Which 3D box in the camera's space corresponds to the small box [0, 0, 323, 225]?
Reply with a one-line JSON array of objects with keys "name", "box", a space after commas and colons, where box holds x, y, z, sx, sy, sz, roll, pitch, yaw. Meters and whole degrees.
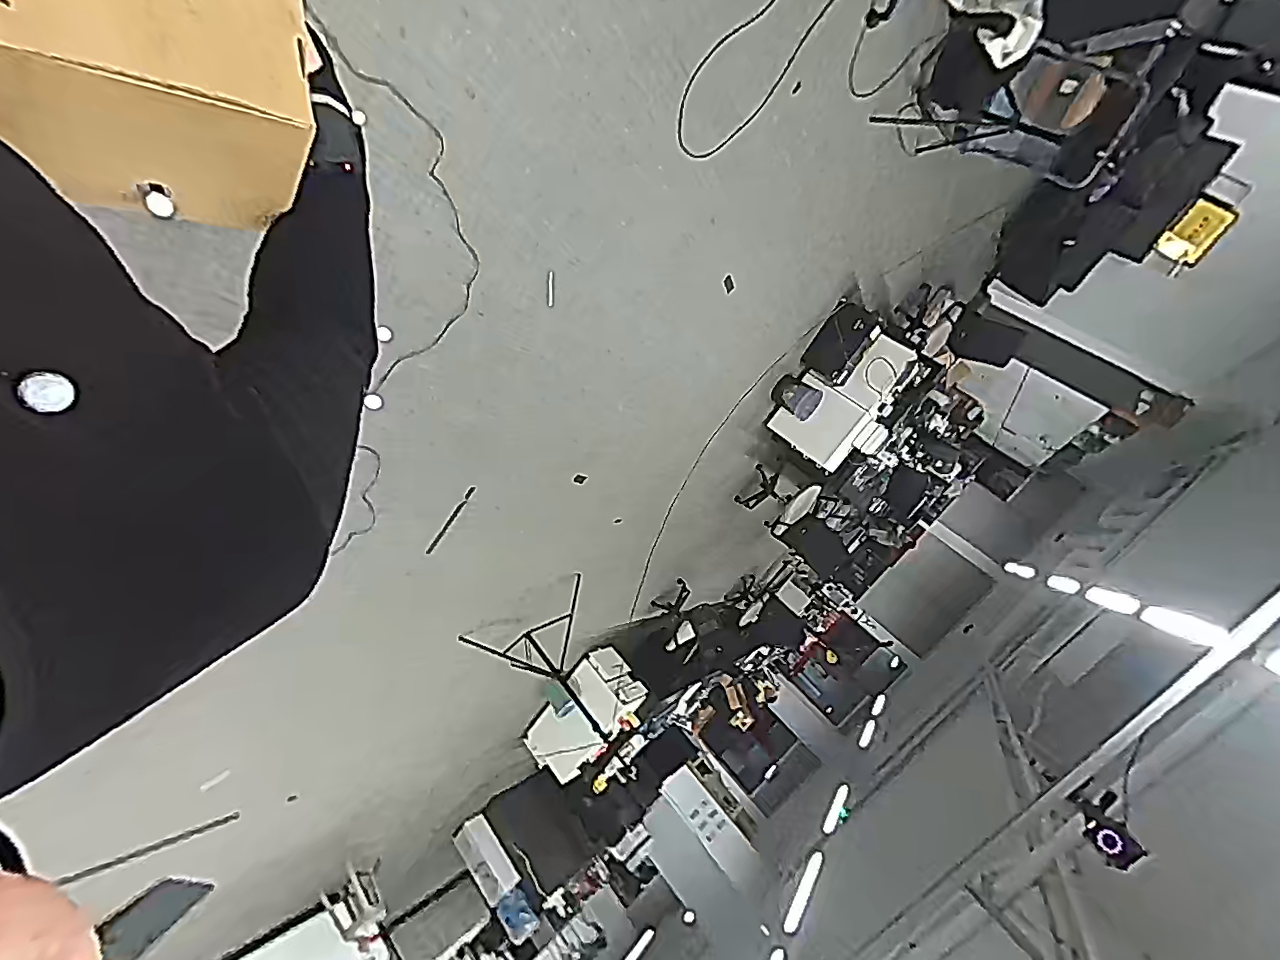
[{"name": "small box", "box": [-0.353, -0.307, 0.388, 0.179, 0.176, 0.168, -10, 91, -40]}]
